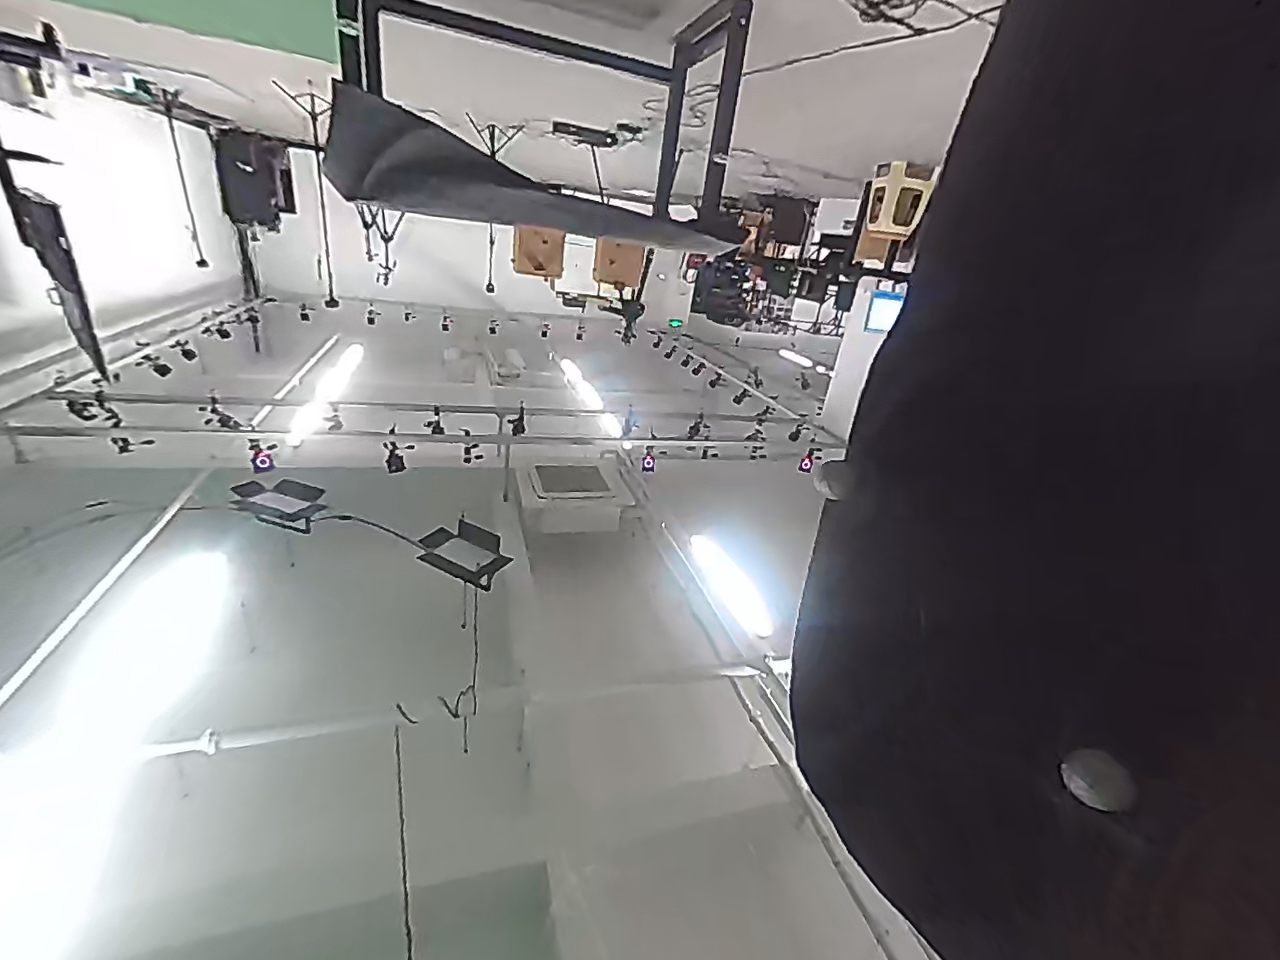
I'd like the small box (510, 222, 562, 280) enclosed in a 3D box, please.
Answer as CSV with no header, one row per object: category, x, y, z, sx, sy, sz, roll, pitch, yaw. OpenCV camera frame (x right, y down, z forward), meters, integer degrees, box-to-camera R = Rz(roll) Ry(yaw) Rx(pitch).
small box,-0.387,-0.850,2.002,0.168,0.176,0.179,0,-155,-19

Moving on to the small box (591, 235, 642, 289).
small box,-0.093,-0.849,2.095,0.168,0.176,0.179,3,-155,-14
